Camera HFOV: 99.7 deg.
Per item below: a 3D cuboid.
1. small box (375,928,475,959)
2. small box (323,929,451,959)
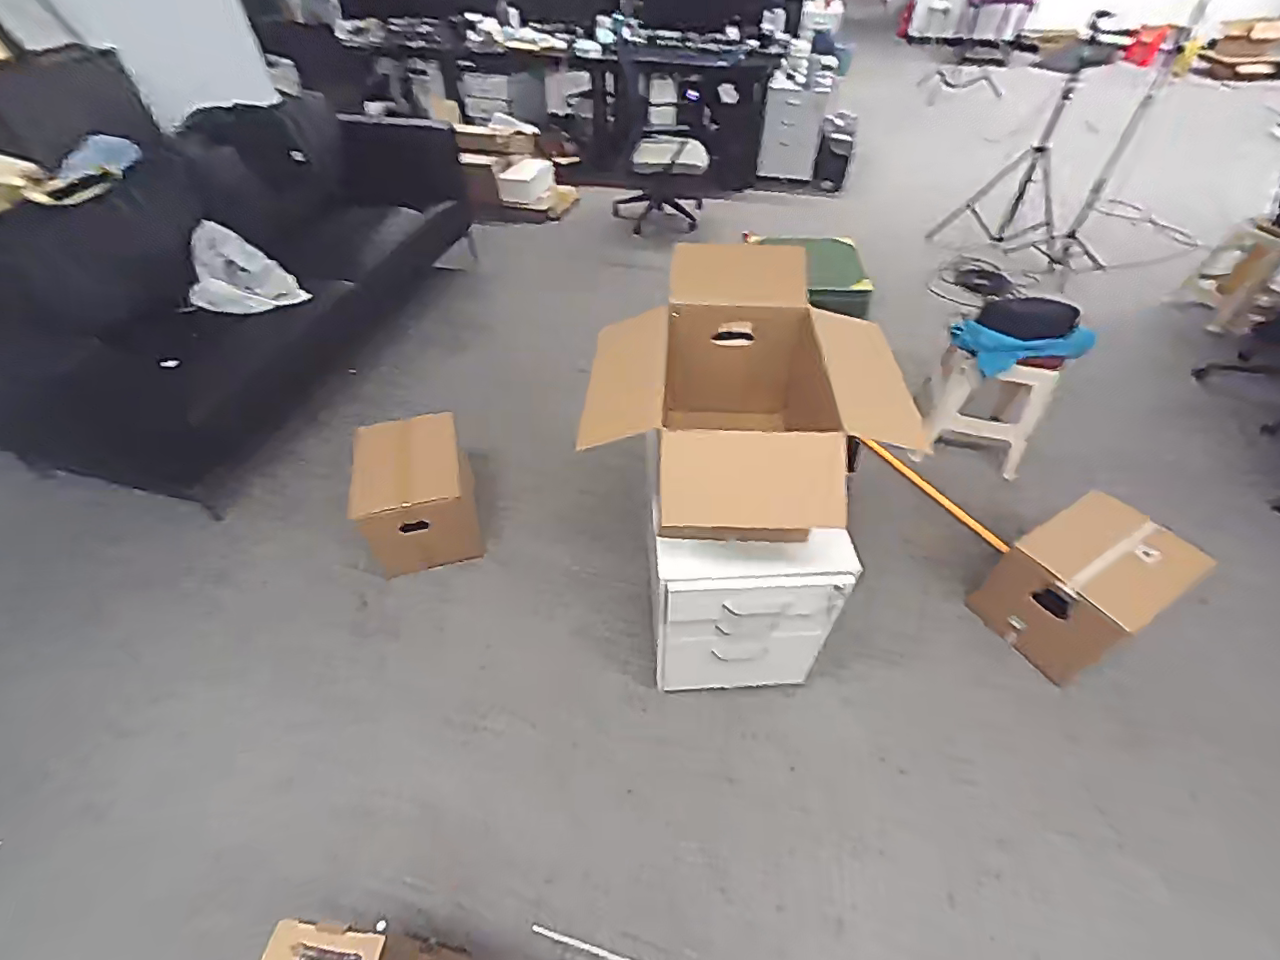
[{"bbox_3d":[-0.439,0.992,1.037,0.179,0.176,0.168,9,48,10],"label":"small box"},{"bbox_3d":[-0.444,0.888,0.911,0.179,0.176,0.168,6,46,9],"label":"small box"}]
